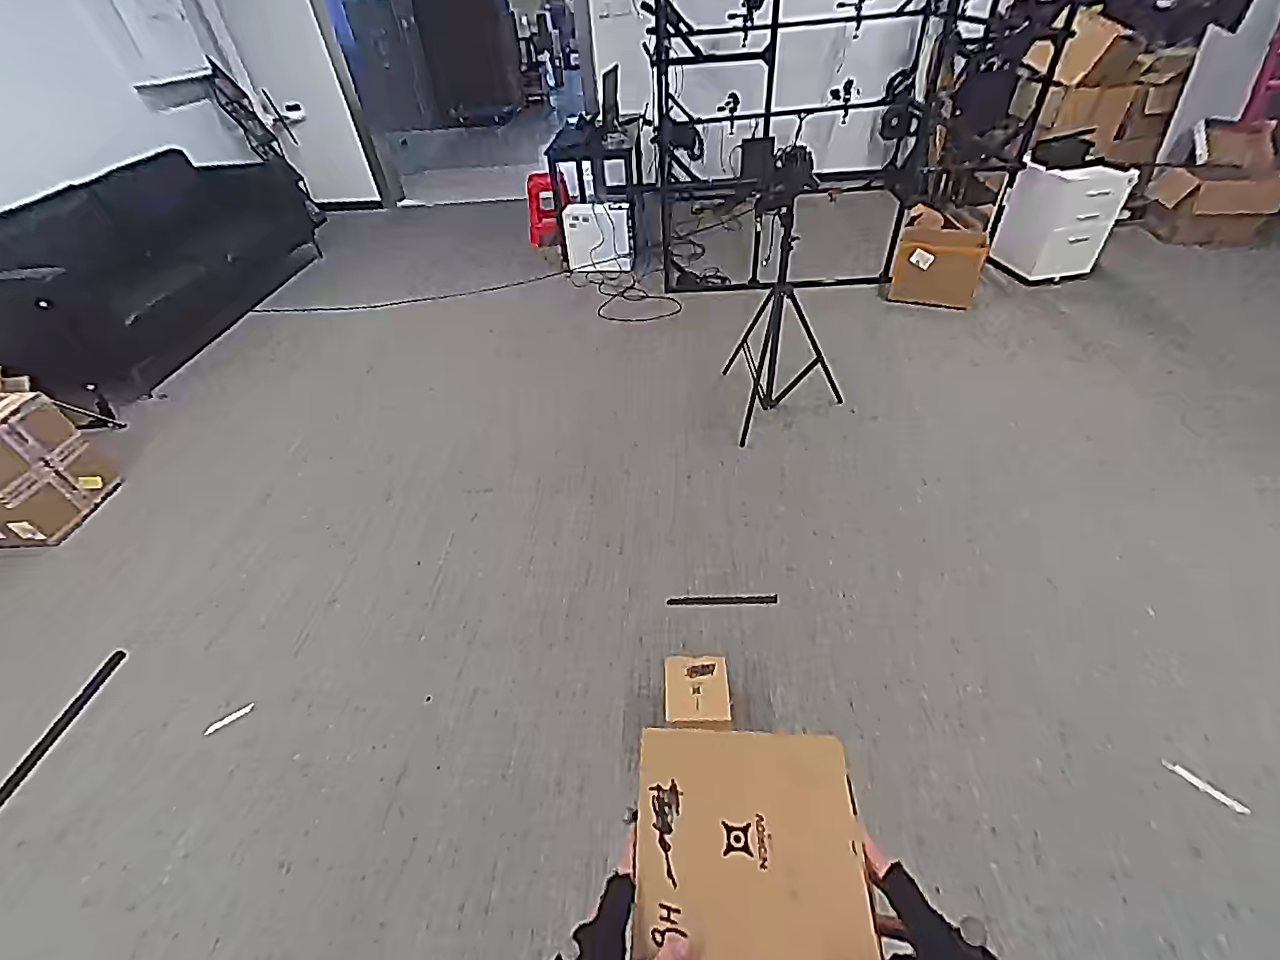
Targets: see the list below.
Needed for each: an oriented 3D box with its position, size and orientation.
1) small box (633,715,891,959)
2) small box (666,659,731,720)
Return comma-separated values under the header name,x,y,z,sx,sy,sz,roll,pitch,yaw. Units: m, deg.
name,x,y,z,sx,sy,sz,roll,pitch,yaw
small box,0.087,0.325,0.472,0.179,0.176,0.168,2,44,3
small box,0.154,0.605,1.460,0.168,0.176,0.179,-2,43,4
